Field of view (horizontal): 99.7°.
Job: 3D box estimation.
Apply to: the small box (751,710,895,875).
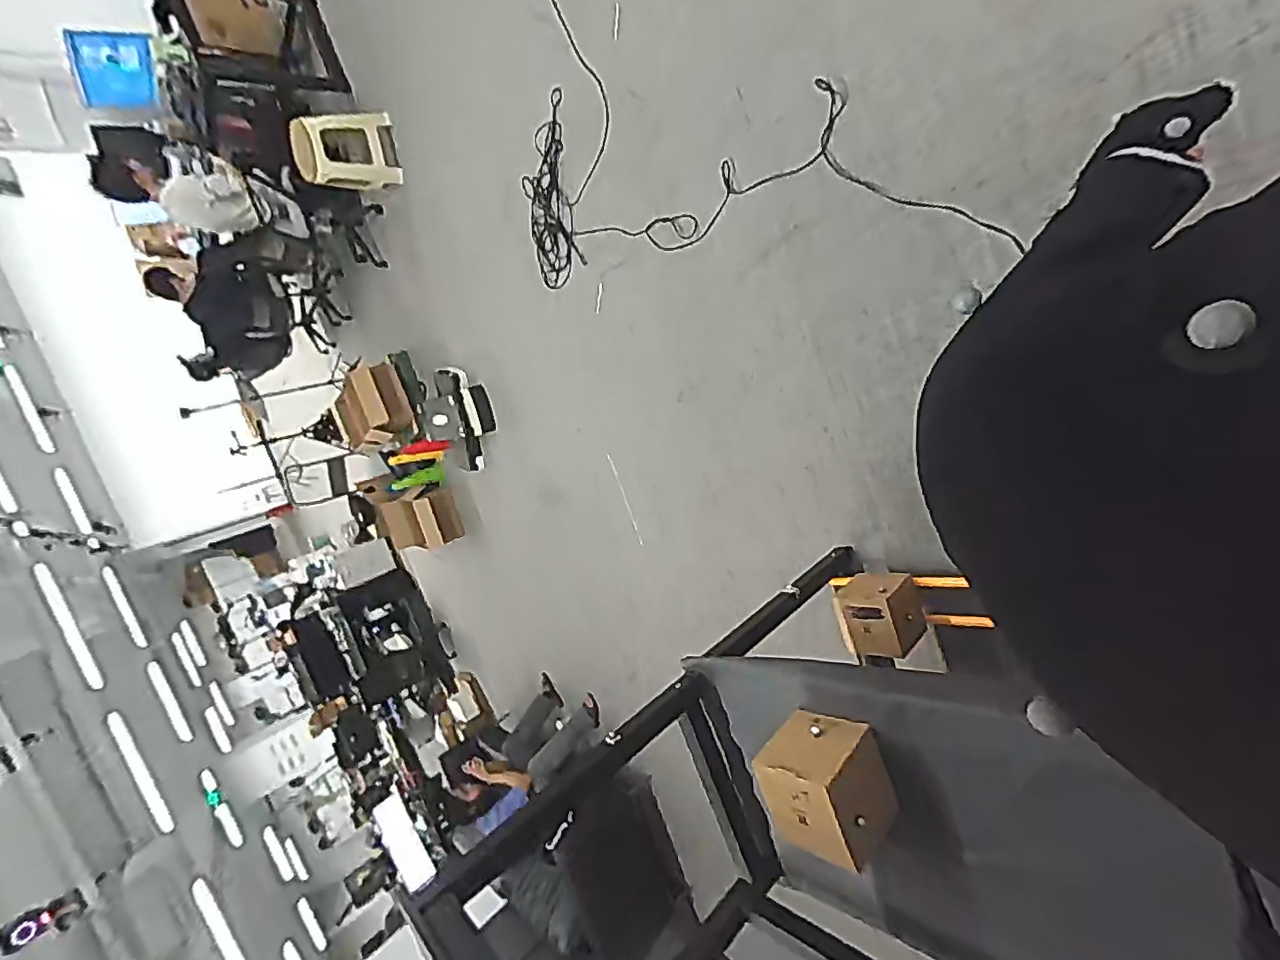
[{"bbox_3d":[0.342,0.563,1.002,0.168,0.176,0.179,-14,99,51],"label":"small box"}]
